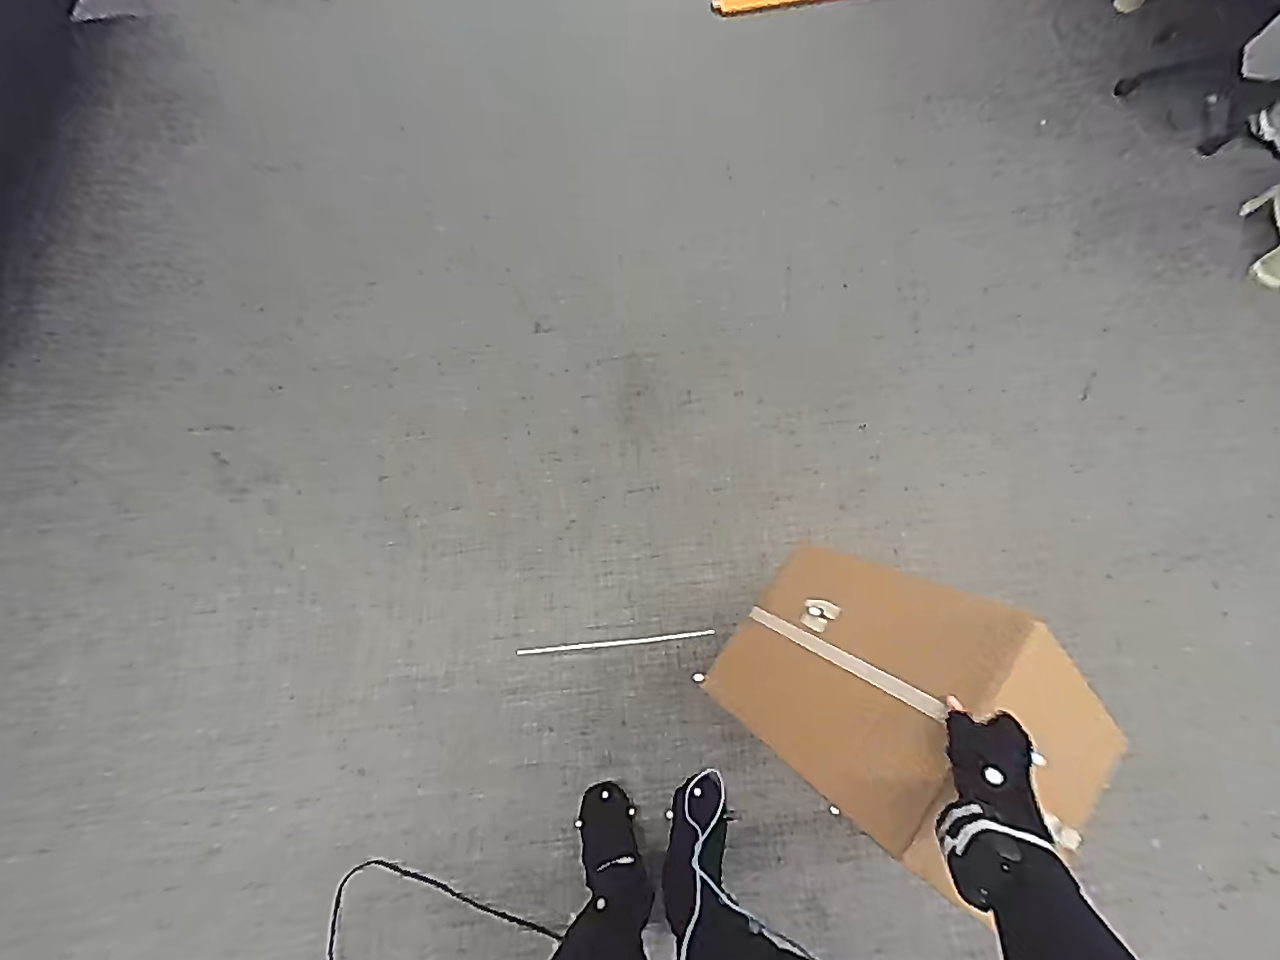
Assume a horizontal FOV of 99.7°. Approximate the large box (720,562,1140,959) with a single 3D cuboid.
[{"bbox_3d":[0.407,0.376,0.822,0.320,0.408,0.320,45,78,-20],"label":"large box"}]
